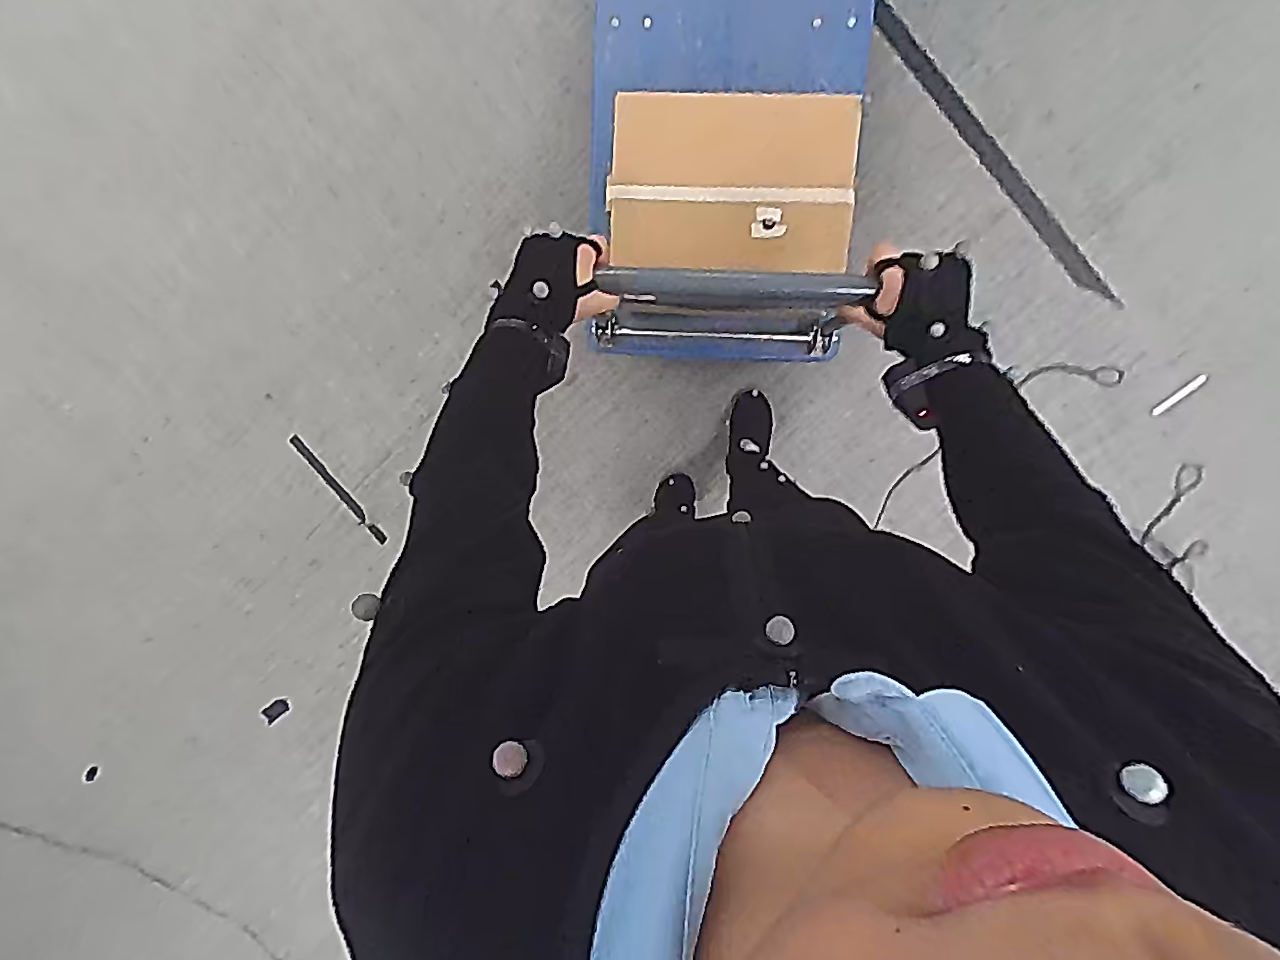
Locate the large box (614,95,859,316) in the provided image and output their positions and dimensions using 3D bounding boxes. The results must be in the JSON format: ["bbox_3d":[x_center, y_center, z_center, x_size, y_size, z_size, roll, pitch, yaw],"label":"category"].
[{"bbox_3d":[0.163,-0.506,1.062,0.408,0.320,0.320,3,100,3],"label":"large box"}]
